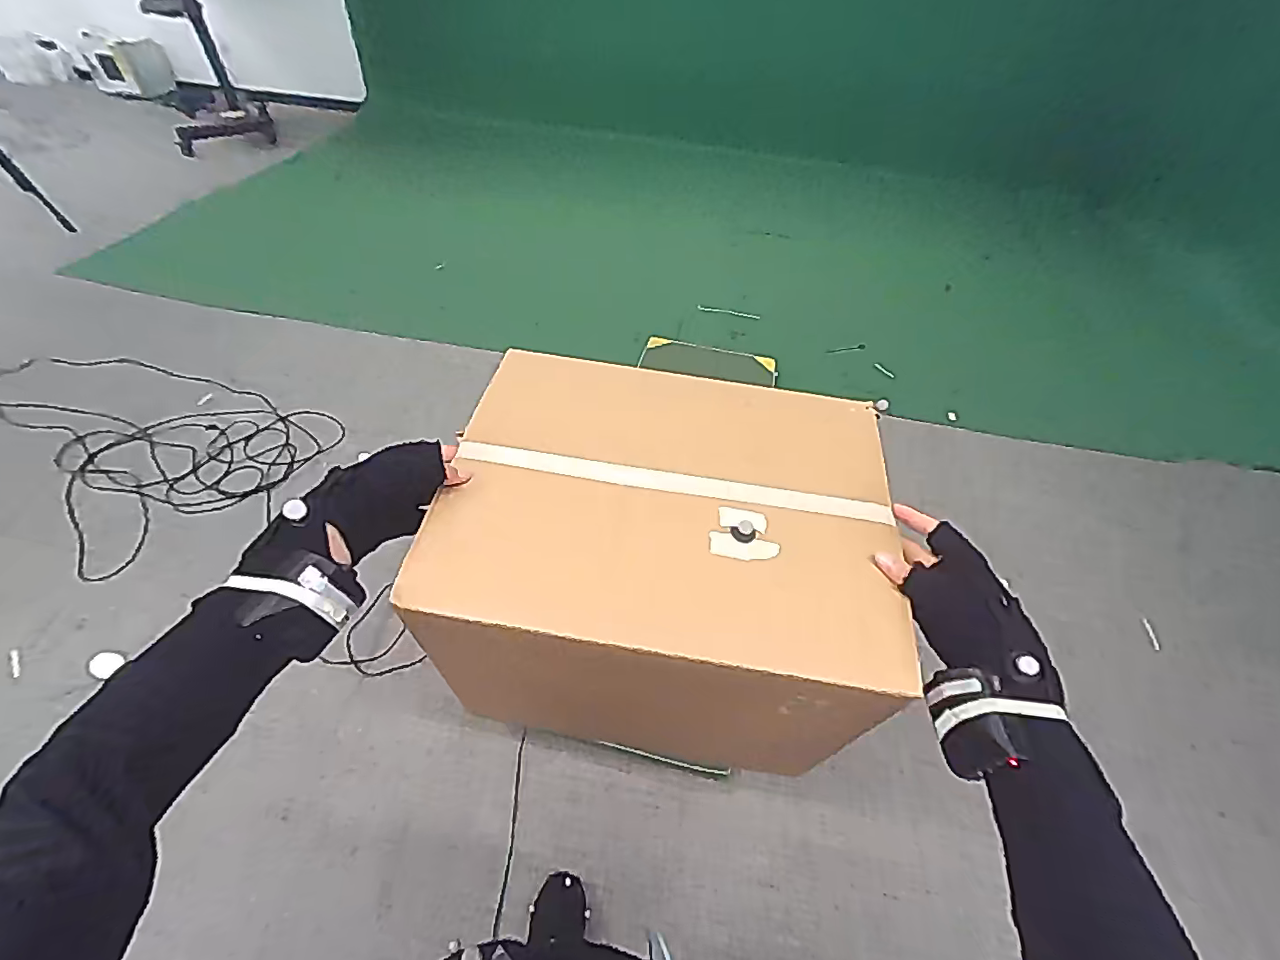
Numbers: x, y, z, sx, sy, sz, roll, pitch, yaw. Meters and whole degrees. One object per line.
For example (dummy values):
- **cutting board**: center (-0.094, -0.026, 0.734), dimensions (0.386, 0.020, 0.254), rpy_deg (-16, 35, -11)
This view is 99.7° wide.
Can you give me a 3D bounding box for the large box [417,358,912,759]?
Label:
- **large box**: center (0.024, 0.098, 0.630), dimensions (0.408, 0.320, 0.320), rpy_deg (9, 52, 2)
